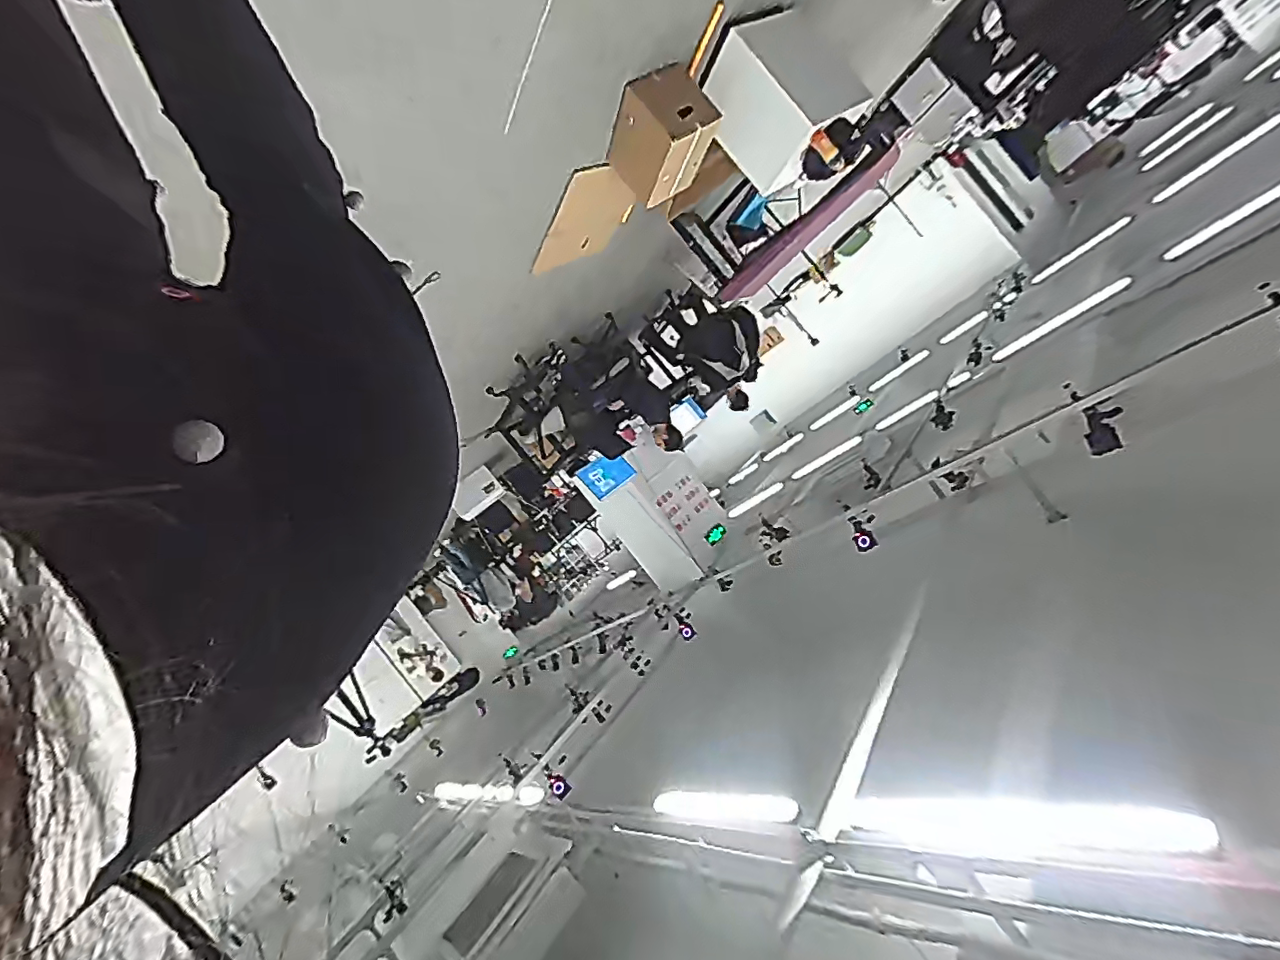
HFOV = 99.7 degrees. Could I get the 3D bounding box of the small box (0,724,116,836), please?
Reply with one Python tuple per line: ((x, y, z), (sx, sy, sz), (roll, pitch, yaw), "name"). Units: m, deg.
((-1.426, 0.709, 1.295), (0.168, 0.176, 0.179), (-39, -179, -38), "small box")
